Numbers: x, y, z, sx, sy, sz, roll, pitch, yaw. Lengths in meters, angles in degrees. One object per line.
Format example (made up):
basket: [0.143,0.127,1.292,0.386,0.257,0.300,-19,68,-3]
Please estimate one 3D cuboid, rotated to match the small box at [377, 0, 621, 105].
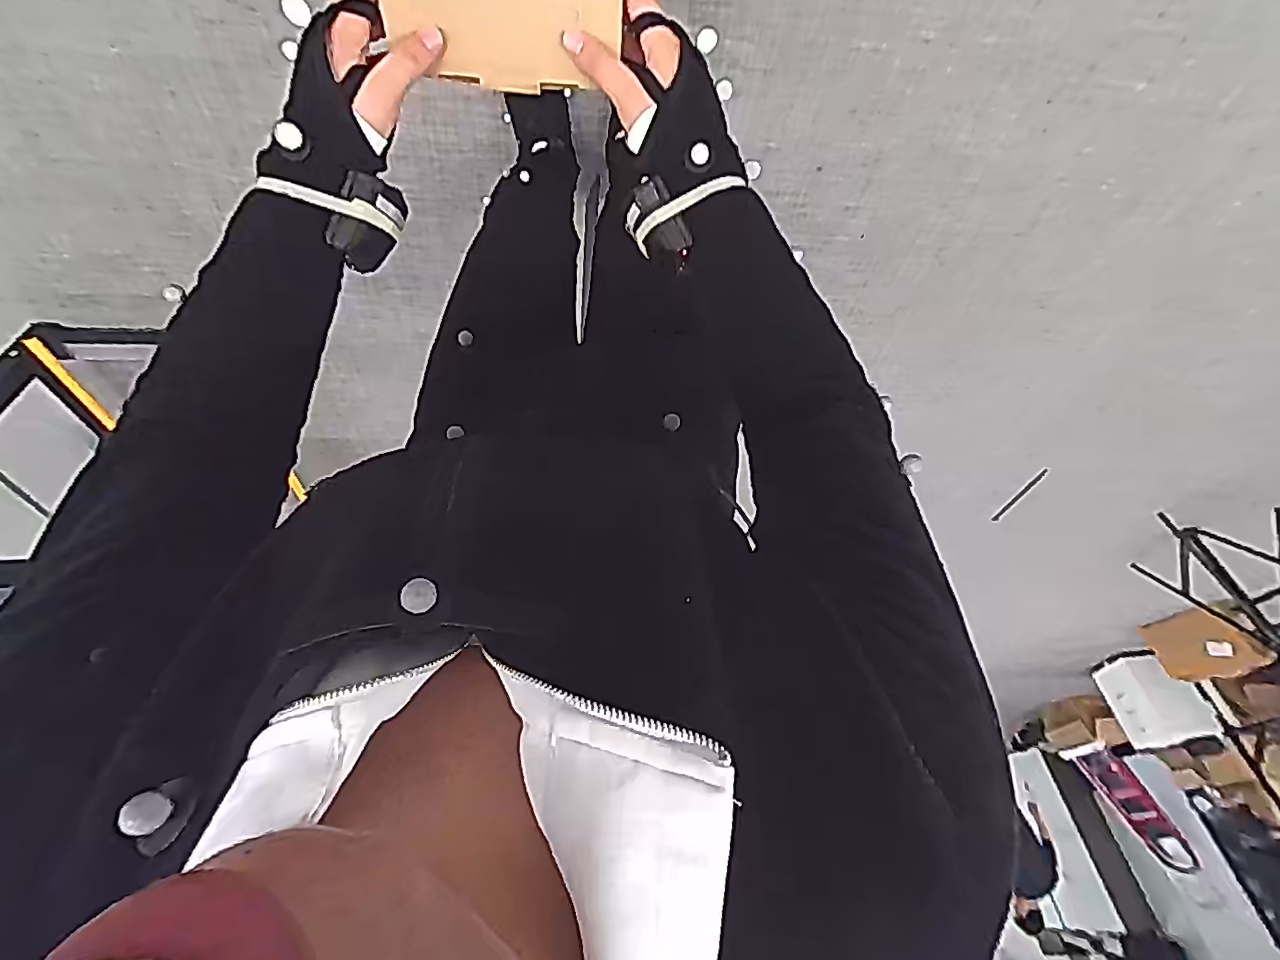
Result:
small box: [-0.095,-0.404,0.386,0.168,0.176,0.179,0,141,-7]
